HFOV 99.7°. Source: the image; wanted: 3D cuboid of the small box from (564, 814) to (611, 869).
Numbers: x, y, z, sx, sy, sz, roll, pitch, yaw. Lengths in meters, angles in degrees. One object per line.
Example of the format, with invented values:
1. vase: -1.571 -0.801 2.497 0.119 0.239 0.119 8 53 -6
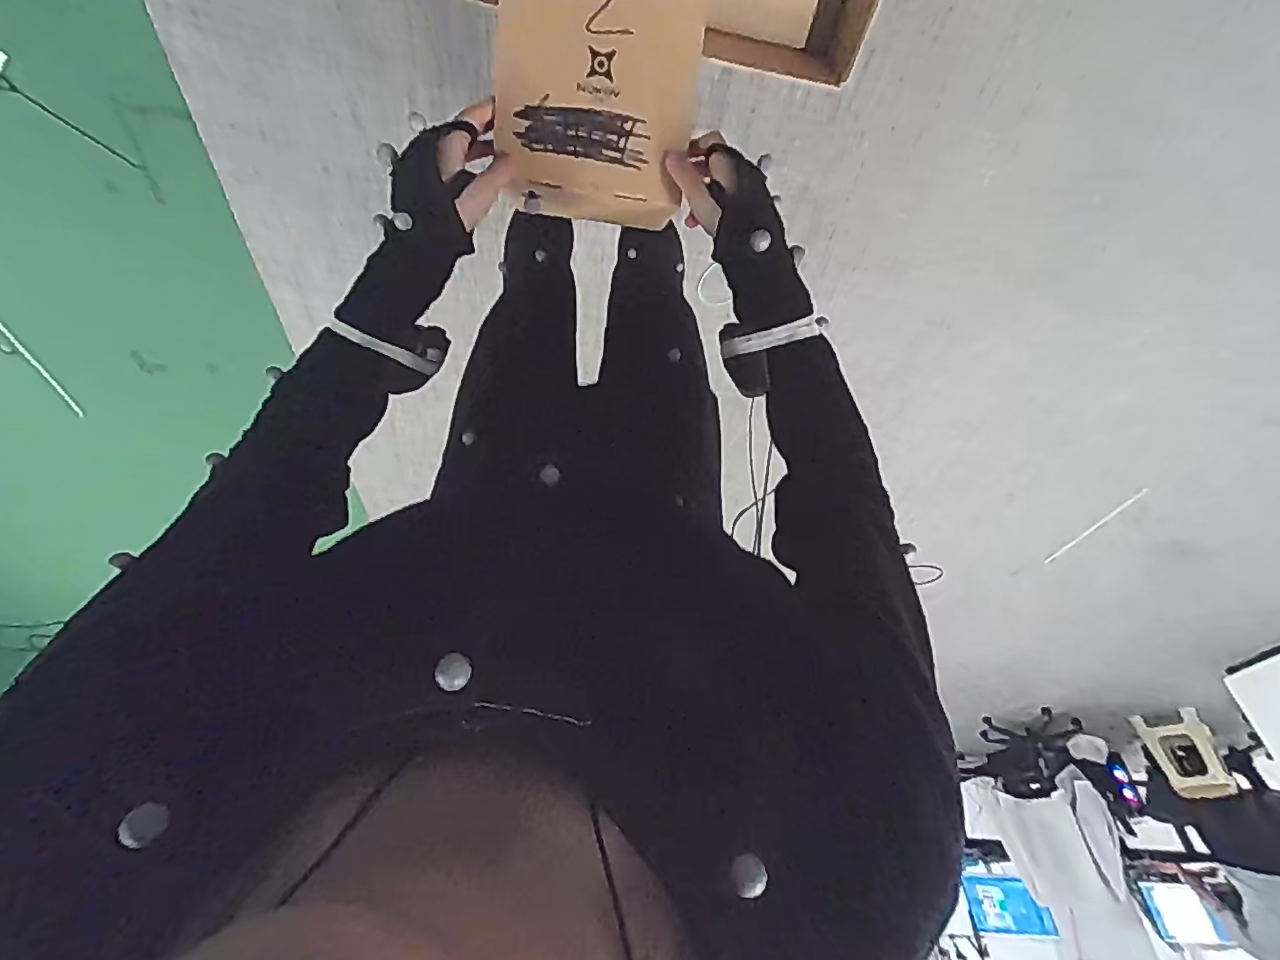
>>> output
1. small box: -0.203 1.433 2.141 0.179 0.176 0.168 2 141 0
